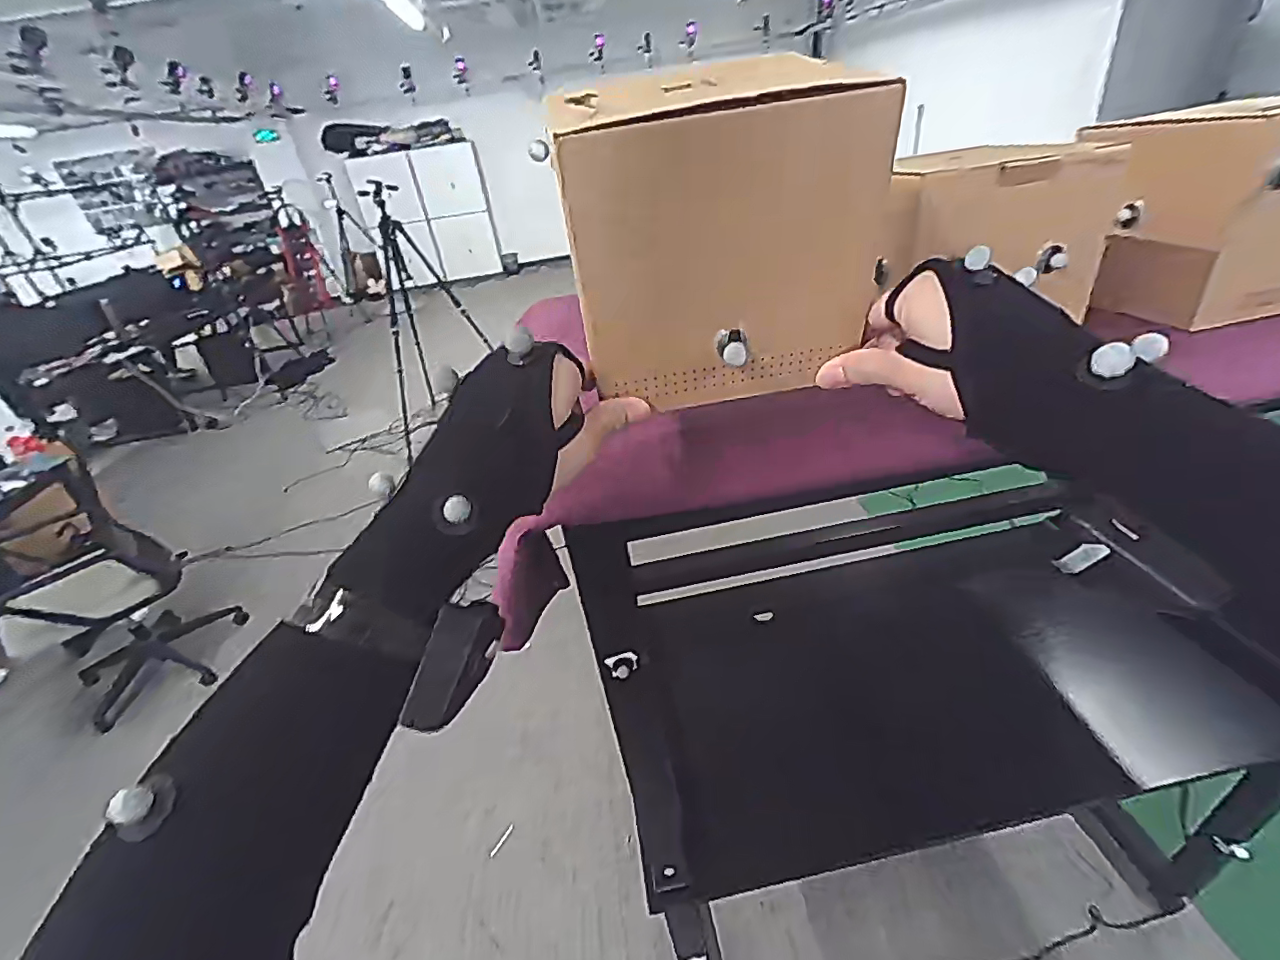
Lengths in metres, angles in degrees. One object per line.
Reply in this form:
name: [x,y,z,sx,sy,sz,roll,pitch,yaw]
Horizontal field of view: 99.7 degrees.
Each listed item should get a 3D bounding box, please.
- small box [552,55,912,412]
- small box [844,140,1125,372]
small box: [0.043,-0.167,0.365,0.179,0.176,0.168,-10,41,-2]
small box: [0.283,-0.209,0.511,0.168,0.176,0.179,-9,31,-2]
